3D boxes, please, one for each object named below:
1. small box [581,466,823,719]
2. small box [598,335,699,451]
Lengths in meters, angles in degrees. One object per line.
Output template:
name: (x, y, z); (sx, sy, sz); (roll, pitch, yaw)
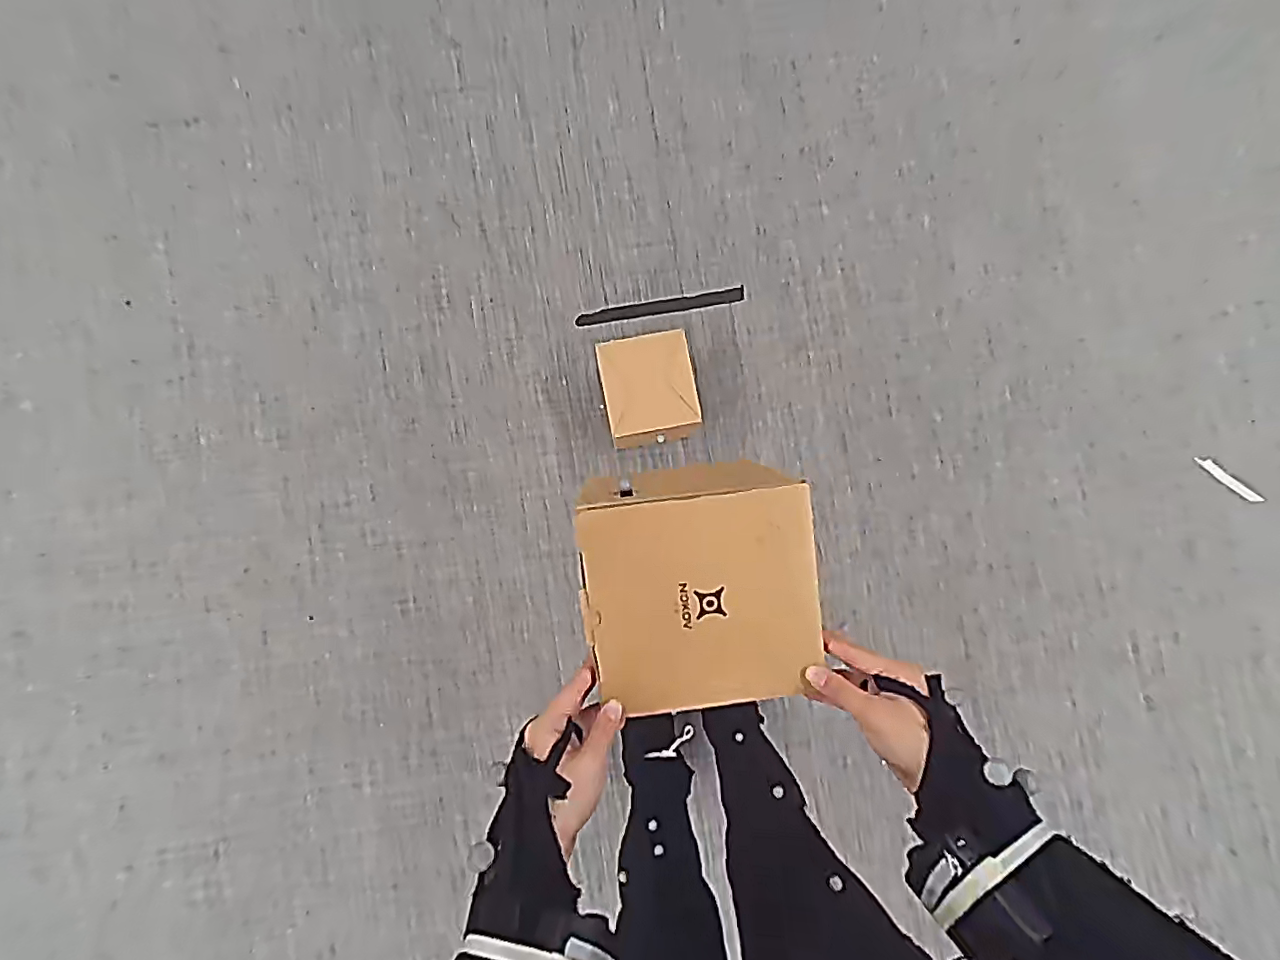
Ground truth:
small box: (0.046, 0.084, 0.487); (0.179, 0.176, 0.168); (-7, 98, -1)
small box: (0.013, -0.164, 1.052); (0.168, 0.176, 0.179); (-11, 86, -1)
